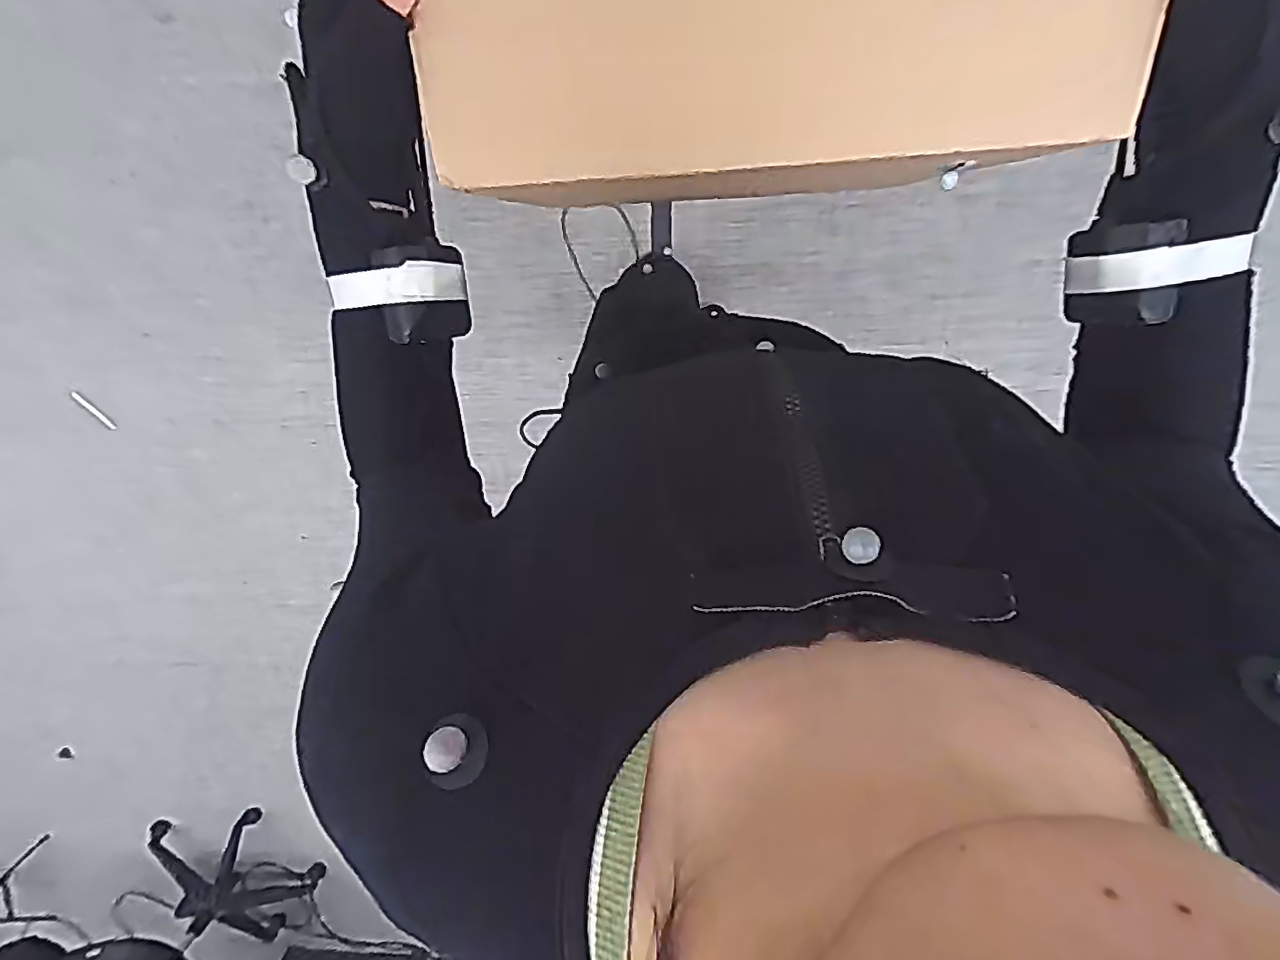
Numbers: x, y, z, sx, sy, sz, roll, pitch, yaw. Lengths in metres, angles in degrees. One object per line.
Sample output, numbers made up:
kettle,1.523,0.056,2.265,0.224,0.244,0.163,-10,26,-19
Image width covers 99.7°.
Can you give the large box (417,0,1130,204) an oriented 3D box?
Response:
large box,0.074,-0.398,0.406,0.408,0.320,0.320,-2,114,4
